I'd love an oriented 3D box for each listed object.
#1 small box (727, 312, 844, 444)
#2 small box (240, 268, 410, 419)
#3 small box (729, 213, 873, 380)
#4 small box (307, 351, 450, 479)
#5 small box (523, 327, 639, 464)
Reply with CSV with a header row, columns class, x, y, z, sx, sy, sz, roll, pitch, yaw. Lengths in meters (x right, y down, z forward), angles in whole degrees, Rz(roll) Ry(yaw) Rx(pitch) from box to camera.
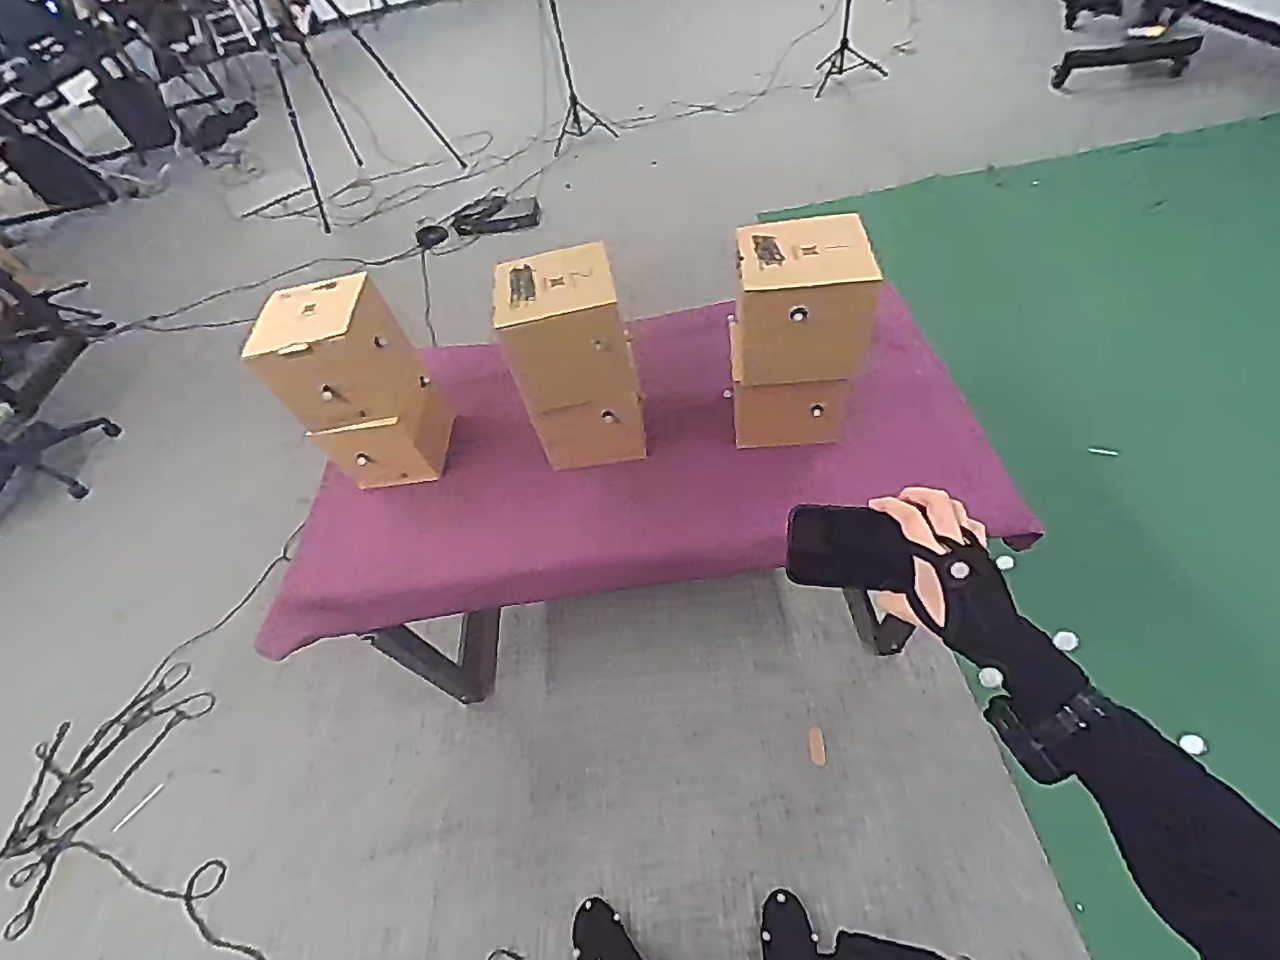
class,x,y,z,sx,sy,sz,roll,pitch,yaw
small box,0.241,-0.178,0.938,0.179,0.176,0.168,-2,53,10
small box,-0.508,-0.219,0.904,0.168,0.176,0.179,-10,53,2
small box,0.225,-0.263,0.799,0.179,0.176,0.168,-2,53,9
small box,-0.482,-0.116,1.030,0.168,0.176,0.179,-7,53,6
small box,-0.096,-0.148,0.978,0.179,0.176,0.168,-7,53,6
